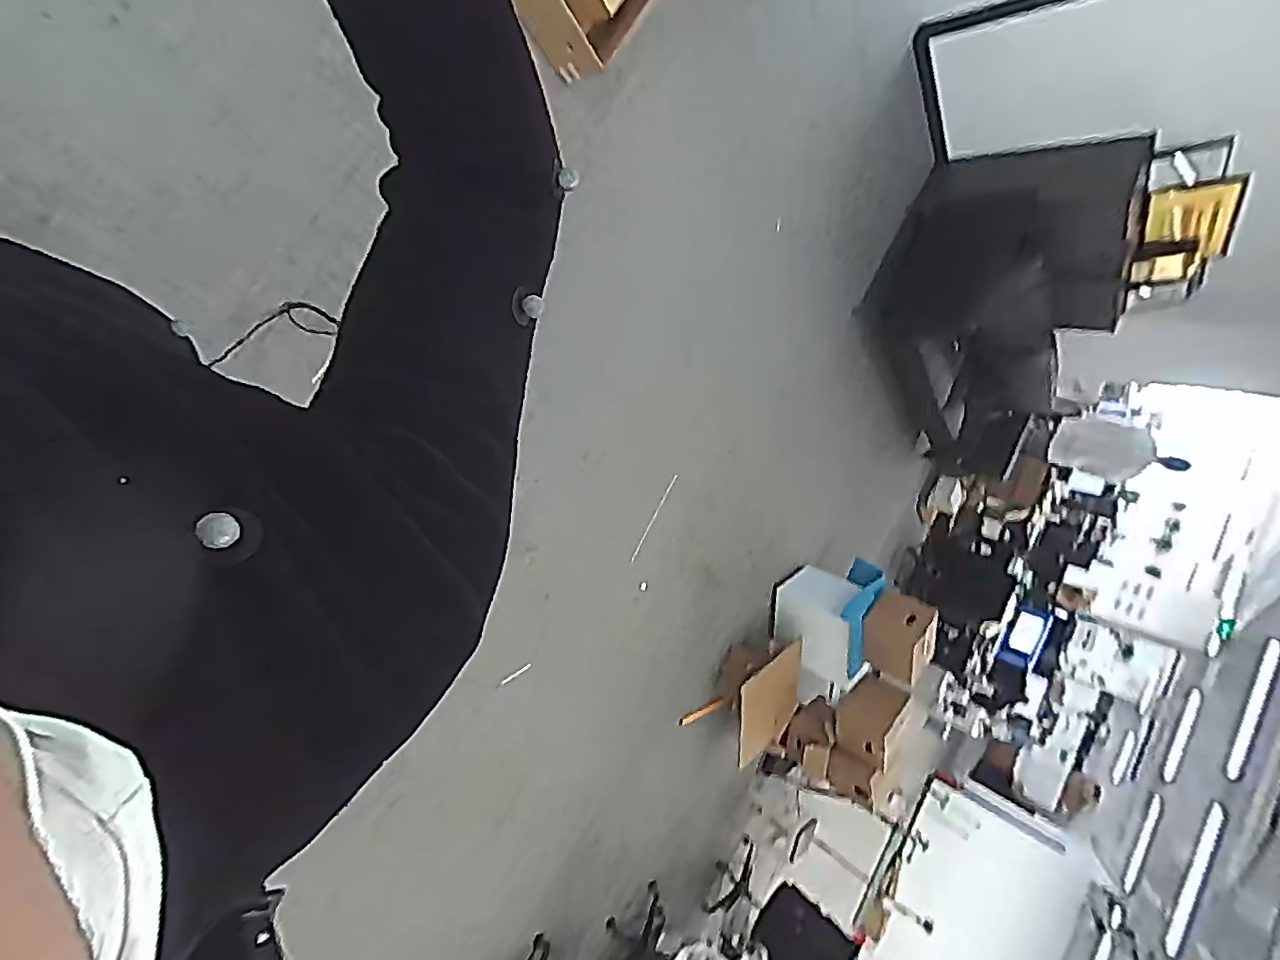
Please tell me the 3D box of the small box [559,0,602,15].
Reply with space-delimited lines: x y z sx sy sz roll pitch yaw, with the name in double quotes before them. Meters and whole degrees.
"small box" -0.163 -1.466 1.517 0.168 0.176 0.179 37 78 -47
